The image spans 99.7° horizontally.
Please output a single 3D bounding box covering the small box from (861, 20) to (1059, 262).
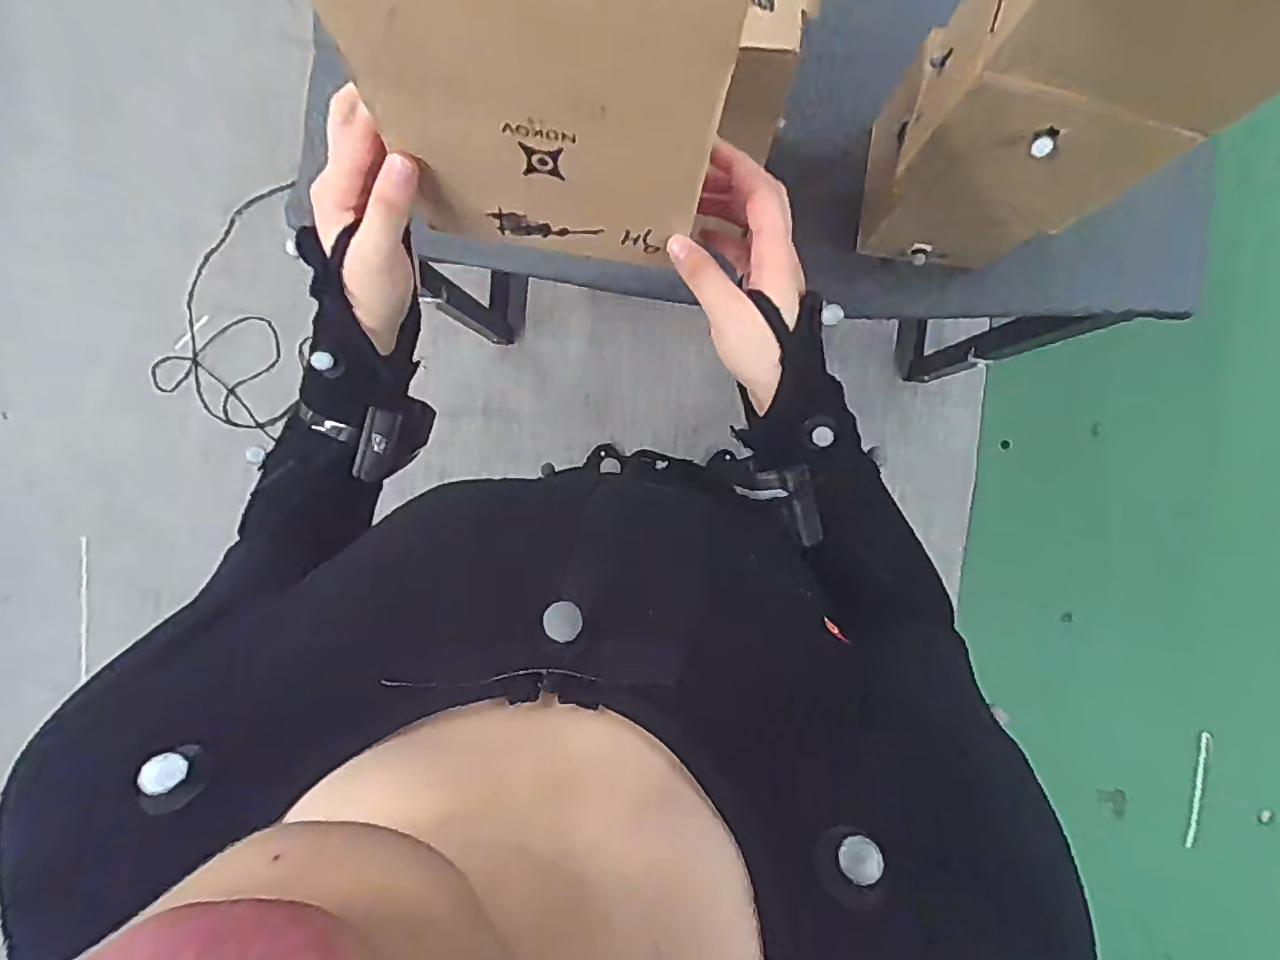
[{"bbox_3d":[0.372,-0.377,0.630,0.168,0.176,0.179,6,93,5],"label":"small box"}]

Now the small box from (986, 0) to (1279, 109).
[{"bbox_3d":[0.348,-0.354,0.303,0.179,0.176,0.168,19,93,4],"label":"small box"}]

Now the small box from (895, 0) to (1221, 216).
[{"bbox_3d":[0.358,-0.357,0.468,0.179,0.176,0.168,17,93,5],"label":"small box"}]

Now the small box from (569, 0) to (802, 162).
[{"bbox_3d":[0.045,-0.415,0.486,0.179,0.176,0.168,6,92,4],"label":"small box"}]
